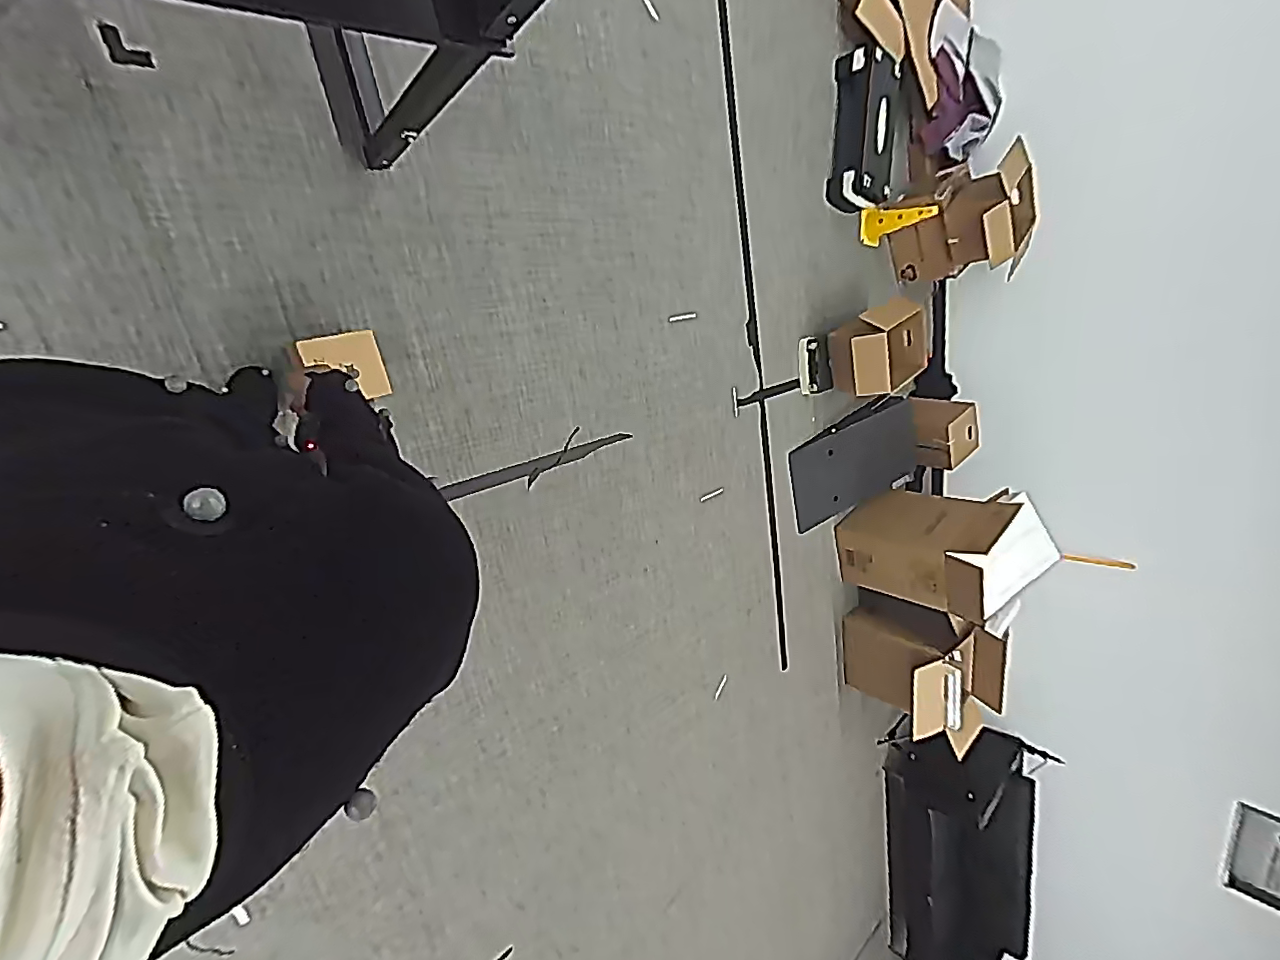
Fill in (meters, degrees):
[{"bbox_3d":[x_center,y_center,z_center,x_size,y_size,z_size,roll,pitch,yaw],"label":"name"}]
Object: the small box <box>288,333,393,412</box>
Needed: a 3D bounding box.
[{"bbox_3d":[-0.766,-0.278,1.382,0.179,0.176,0.168,-24,112,-34],"label":"small box"}]
